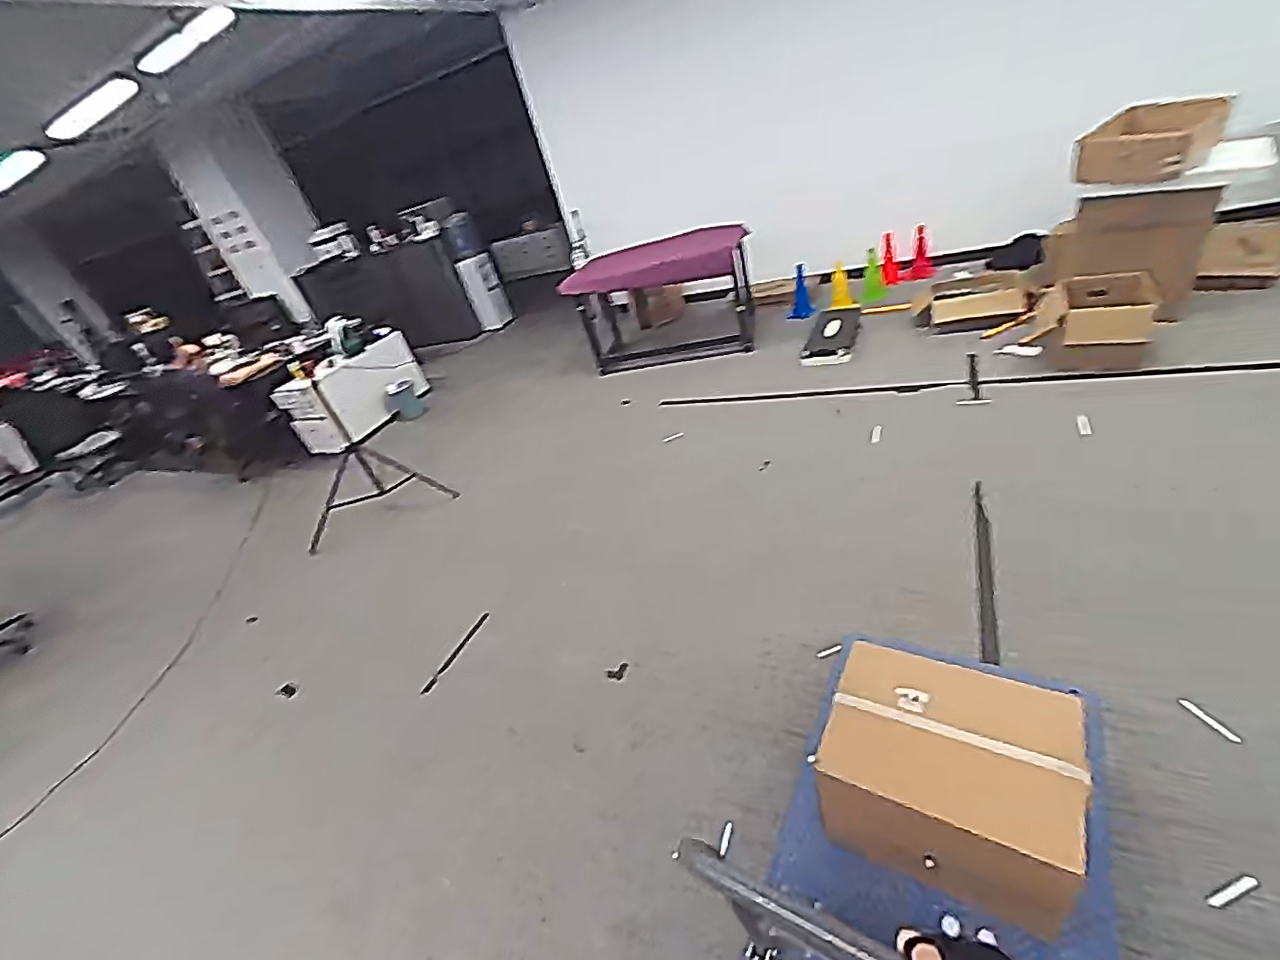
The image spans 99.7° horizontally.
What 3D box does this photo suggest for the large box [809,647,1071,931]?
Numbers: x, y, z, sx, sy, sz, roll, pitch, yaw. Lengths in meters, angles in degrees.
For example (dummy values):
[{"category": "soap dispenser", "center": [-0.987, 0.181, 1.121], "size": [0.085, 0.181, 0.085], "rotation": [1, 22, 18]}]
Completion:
[{"category": "large box", "center": [0.603, 0.601, 1.100], "size": [0.408, 0.320, 0.320], "rotation": [5, 39, 34]}]
